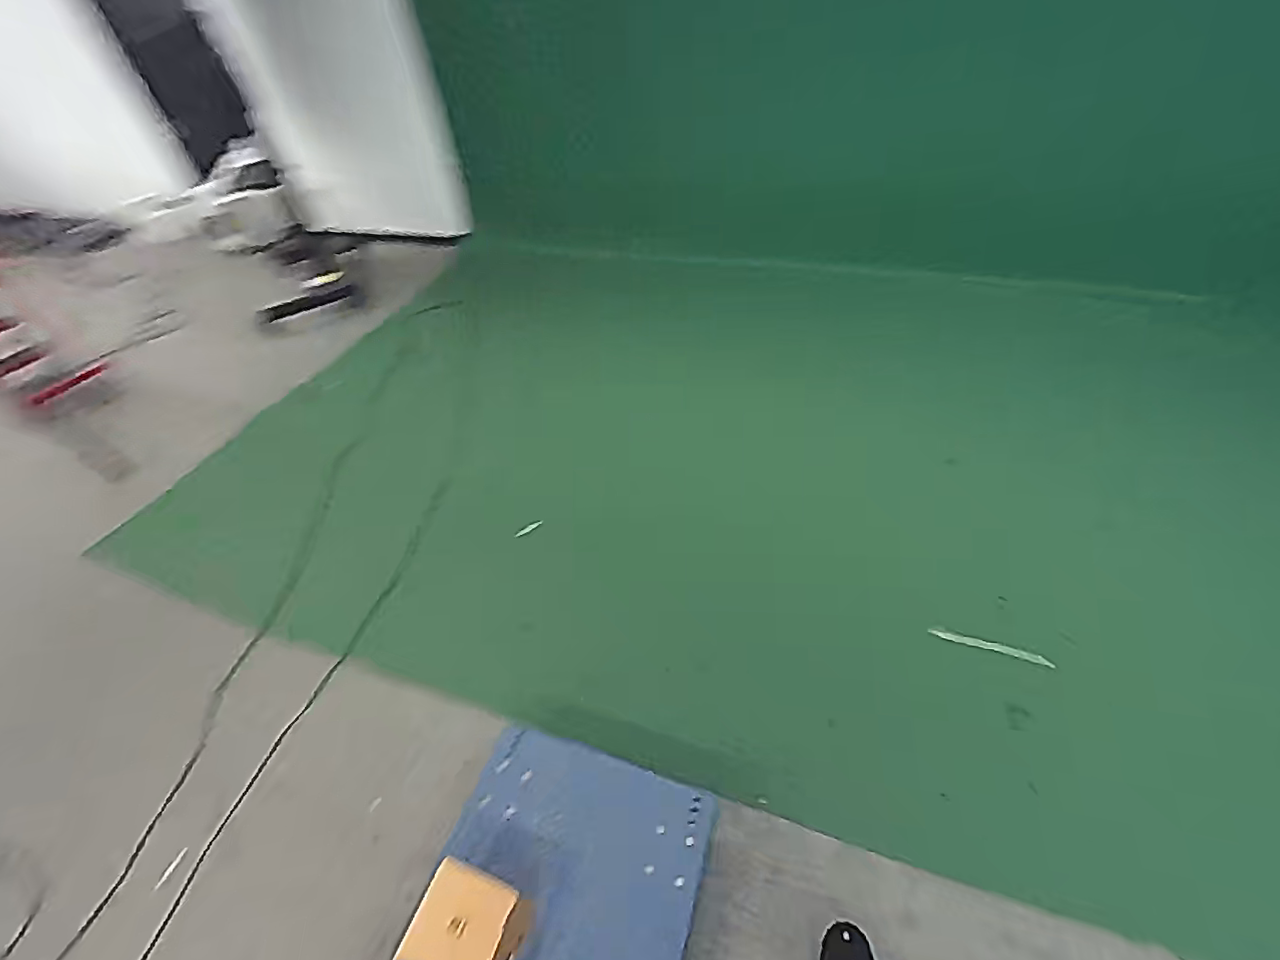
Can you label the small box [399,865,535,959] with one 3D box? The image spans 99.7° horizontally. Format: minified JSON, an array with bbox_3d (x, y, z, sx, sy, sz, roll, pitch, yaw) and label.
[{"bbox_3d":[-0.333,0.907,1.075,0.179,0.176,0.168,12,48,16],"label":"small box"}]
